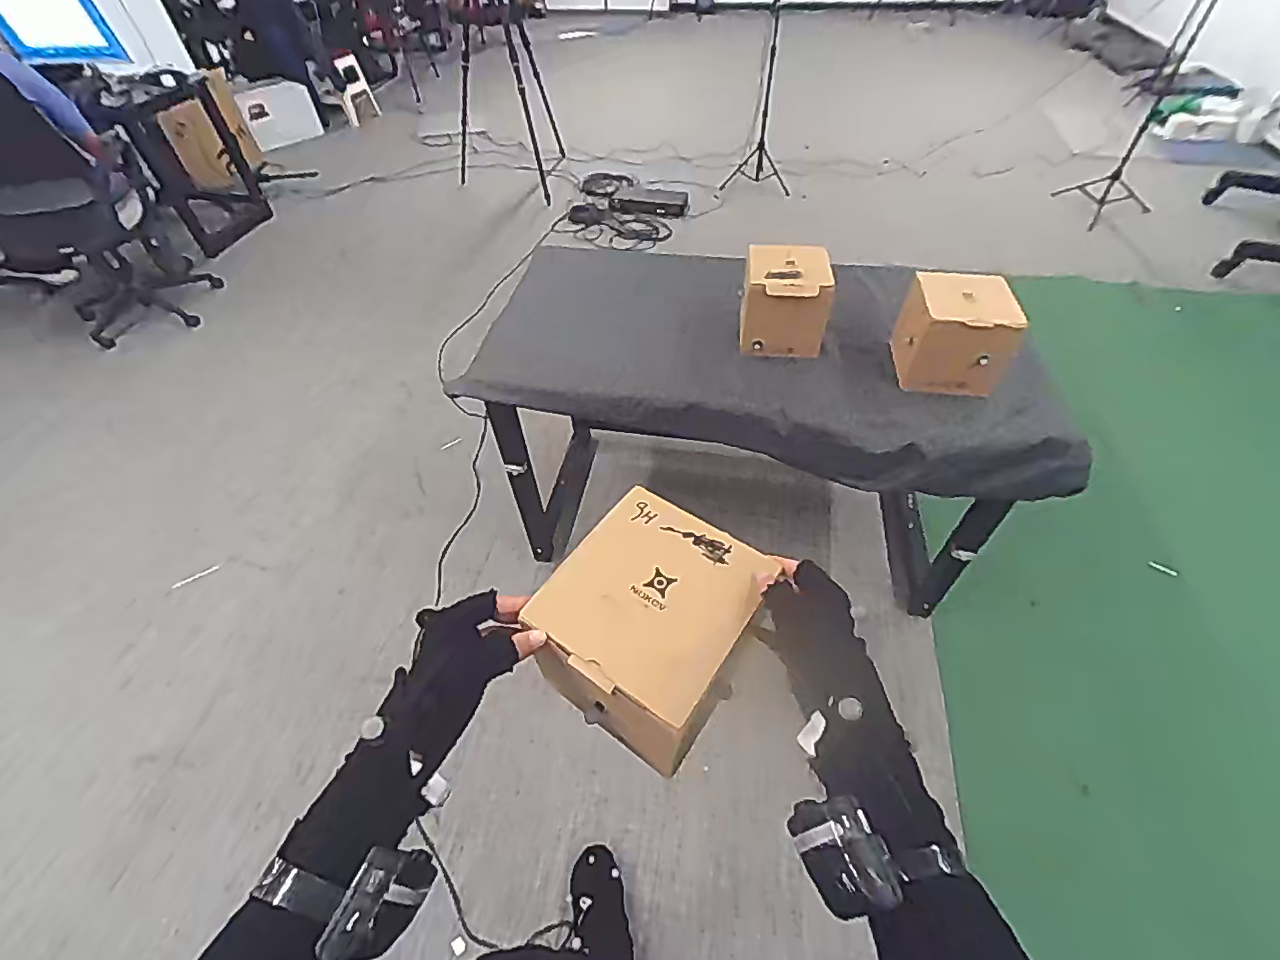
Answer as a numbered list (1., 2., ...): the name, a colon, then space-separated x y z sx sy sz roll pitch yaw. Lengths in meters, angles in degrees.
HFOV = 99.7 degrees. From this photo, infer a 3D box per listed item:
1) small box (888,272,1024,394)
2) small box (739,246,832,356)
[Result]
1. small box: 0.611 -0.290 1.073 0.168 0.176 0.179 6 48 6
2. small box: 0.306 -0.385 1.167 0.168 0.176 0.179 4 48 6
